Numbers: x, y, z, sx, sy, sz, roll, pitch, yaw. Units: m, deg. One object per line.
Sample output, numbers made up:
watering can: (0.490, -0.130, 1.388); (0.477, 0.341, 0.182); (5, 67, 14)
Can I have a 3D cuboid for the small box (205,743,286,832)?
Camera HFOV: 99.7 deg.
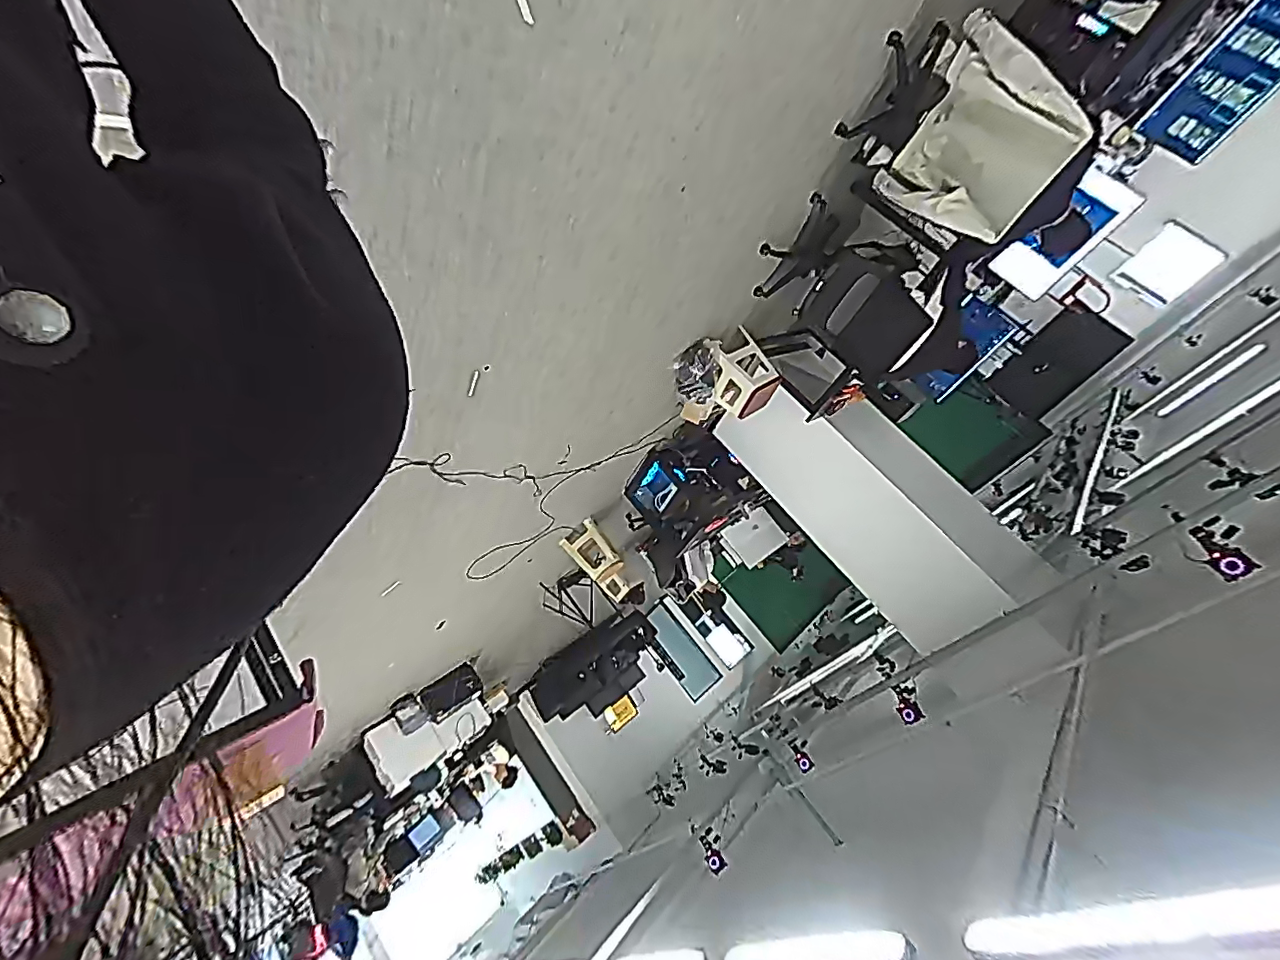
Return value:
small box: (-1.301, 1.010, 1.782); (0.179, 0.176, 0.168); (-24, 158, -42)
